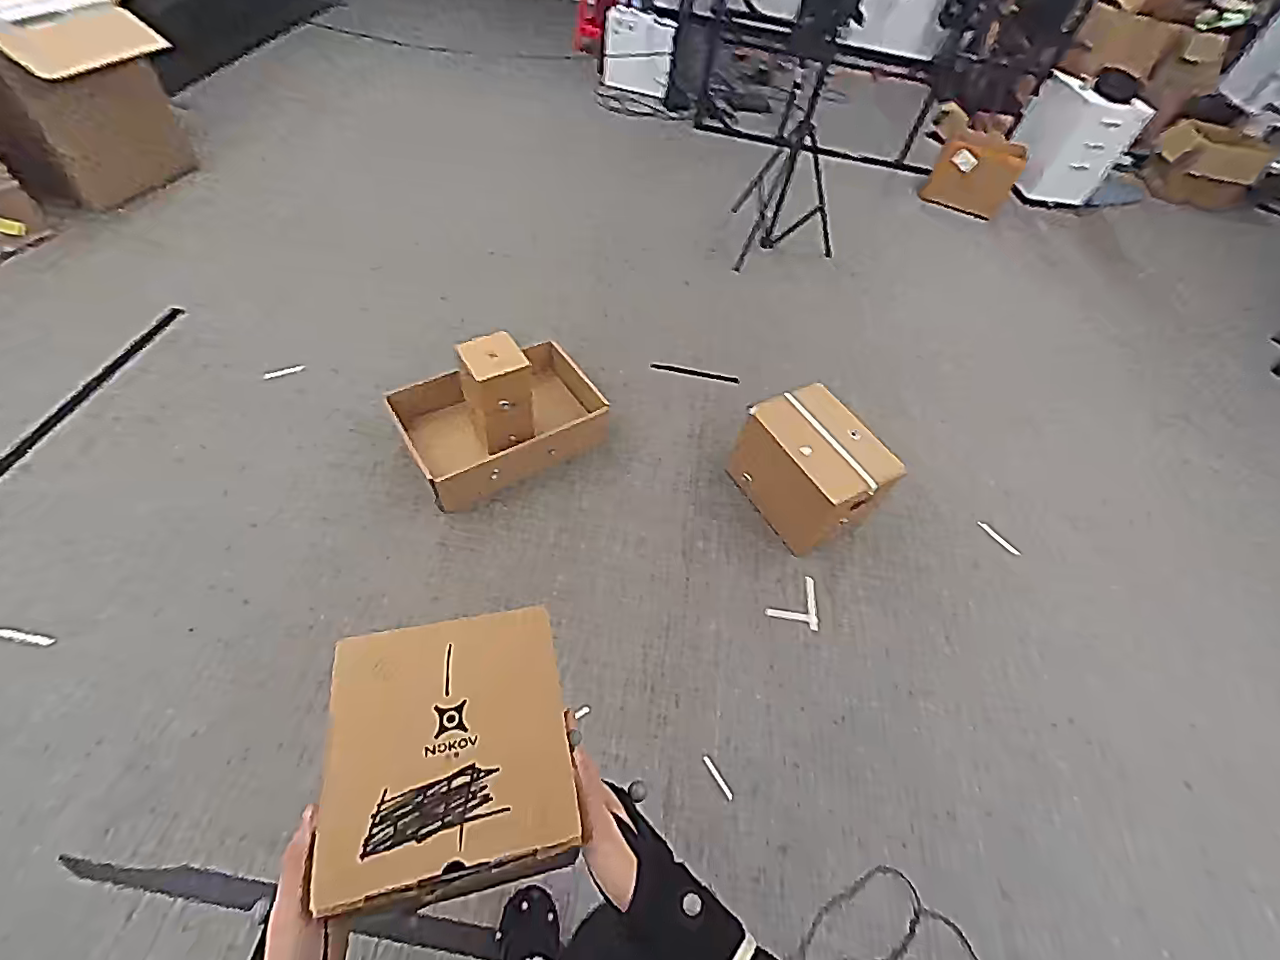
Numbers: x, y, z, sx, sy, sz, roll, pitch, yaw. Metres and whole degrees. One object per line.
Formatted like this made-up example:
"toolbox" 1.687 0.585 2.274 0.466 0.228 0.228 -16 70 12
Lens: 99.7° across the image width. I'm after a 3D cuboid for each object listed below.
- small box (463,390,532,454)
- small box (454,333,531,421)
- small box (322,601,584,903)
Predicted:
"small box" -0.468 -0.216 1.787 0.168 0.176 0.179 -24 60 -23
"small box" -0.449 -0.315 1.659 0.168 0.176 0.179 -26 61 -24
"small box" -0.141 0.228 0.453 0.168 0.176 0.179 -6 51 -14
